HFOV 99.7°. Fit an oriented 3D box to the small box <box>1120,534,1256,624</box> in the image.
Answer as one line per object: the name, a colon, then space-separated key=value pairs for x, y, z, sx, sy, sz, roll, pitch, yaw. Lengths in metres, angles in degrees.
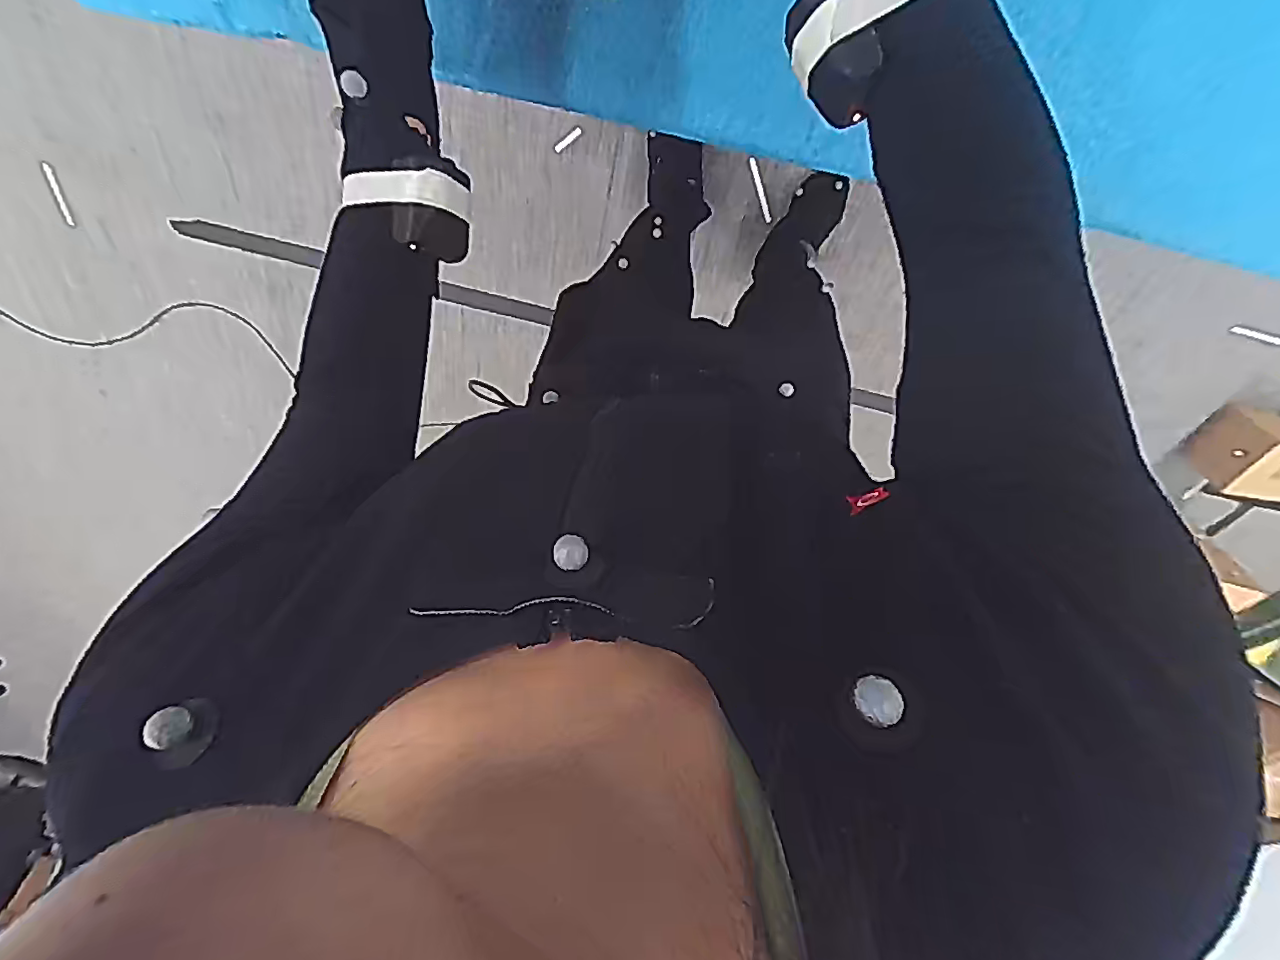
small box: x=1.544 y=0.278 z=1.536 sx=0.179 sy=0.176 sz=0.168 roll=16 pitch=130 yaw=-7

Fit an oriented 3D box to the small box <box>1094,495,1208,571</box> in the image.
small box: x=1.557 y=0.178 z=1.664 sx=0.168 sy=0.176 sz=0.179 roll=15 pitch=132 yaw=-9

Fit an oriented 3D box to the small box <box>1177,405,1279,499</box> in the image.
small box: x=1.609 y=-0.077 z=1.434 sx=0.168 sy=0.176 sz=0.179 roll=9 pitch=132 yaw=-2
